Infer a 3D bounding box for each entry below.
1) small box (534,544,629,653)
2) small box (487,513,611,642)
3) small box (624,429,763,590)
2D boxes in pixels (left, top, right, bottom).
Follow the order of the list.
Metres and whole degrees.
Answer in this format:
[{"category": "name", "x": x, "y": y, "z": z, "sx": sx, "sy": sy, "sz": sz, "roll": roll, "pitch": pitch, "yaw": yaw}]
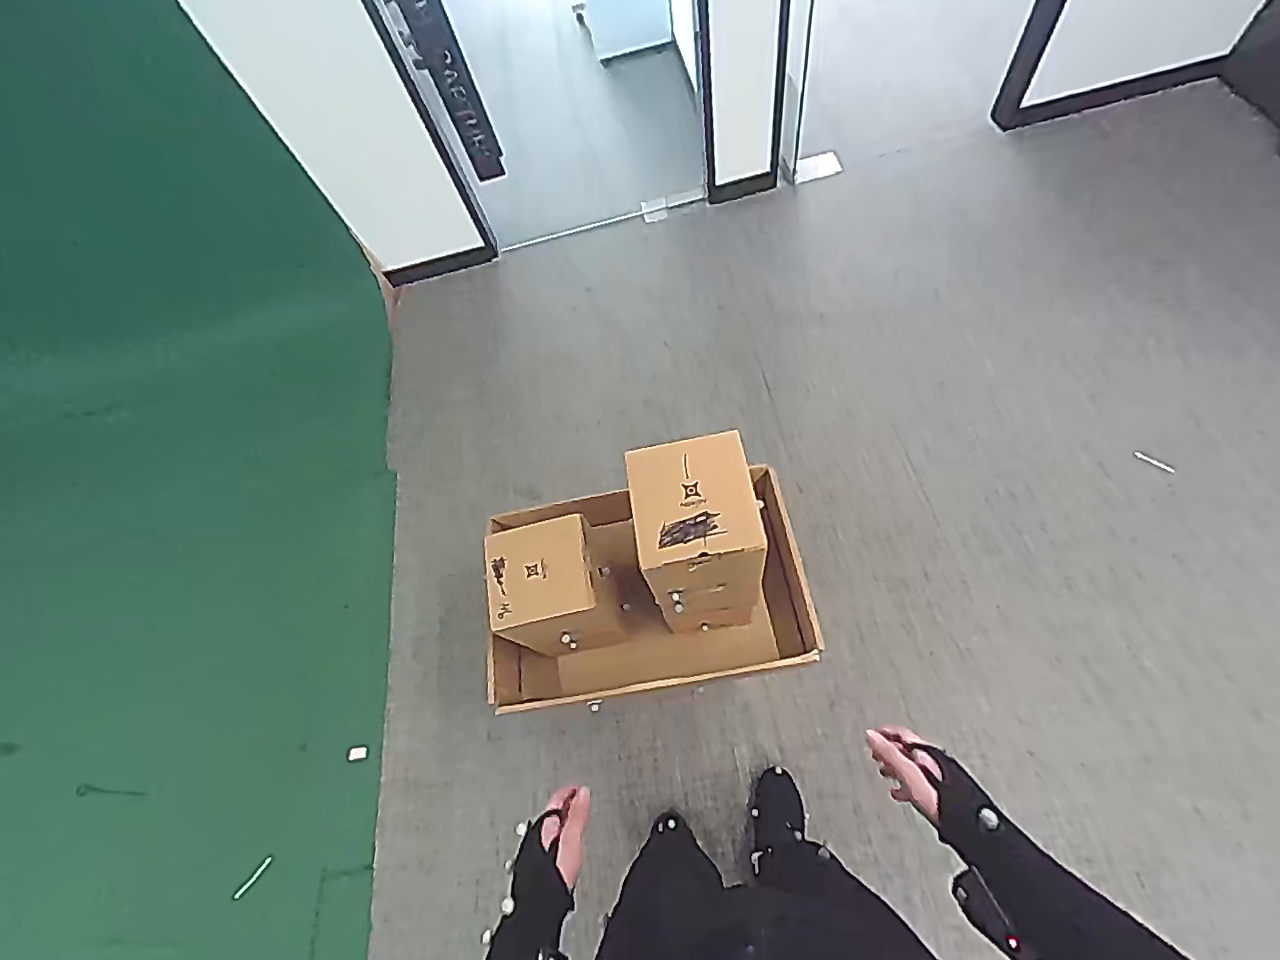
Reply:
[{"category": "small box", "x": -0.130, "y": 0.247, "z": 1.101, "sx": 0.179, "sy": 0.176, "sz": 0.168, "roll": -11, "pitch": 63, "yaw": 3}, {"category": "small box", "x": -0.153, "y": 0.178, "z": 0.955, "sx": 0.179, "sy": 0.176, "sz": 0.168, "roll": -13, "pitch": 63, "yaw": 2}, {"category": "small box", "x": 0.079, "y": 0.053, "z": 0.790, "sx": 0.168, "sy": 0.176, "sz": 0.179, "roll": -11, "pitch": 62, "yaw": 4}]
